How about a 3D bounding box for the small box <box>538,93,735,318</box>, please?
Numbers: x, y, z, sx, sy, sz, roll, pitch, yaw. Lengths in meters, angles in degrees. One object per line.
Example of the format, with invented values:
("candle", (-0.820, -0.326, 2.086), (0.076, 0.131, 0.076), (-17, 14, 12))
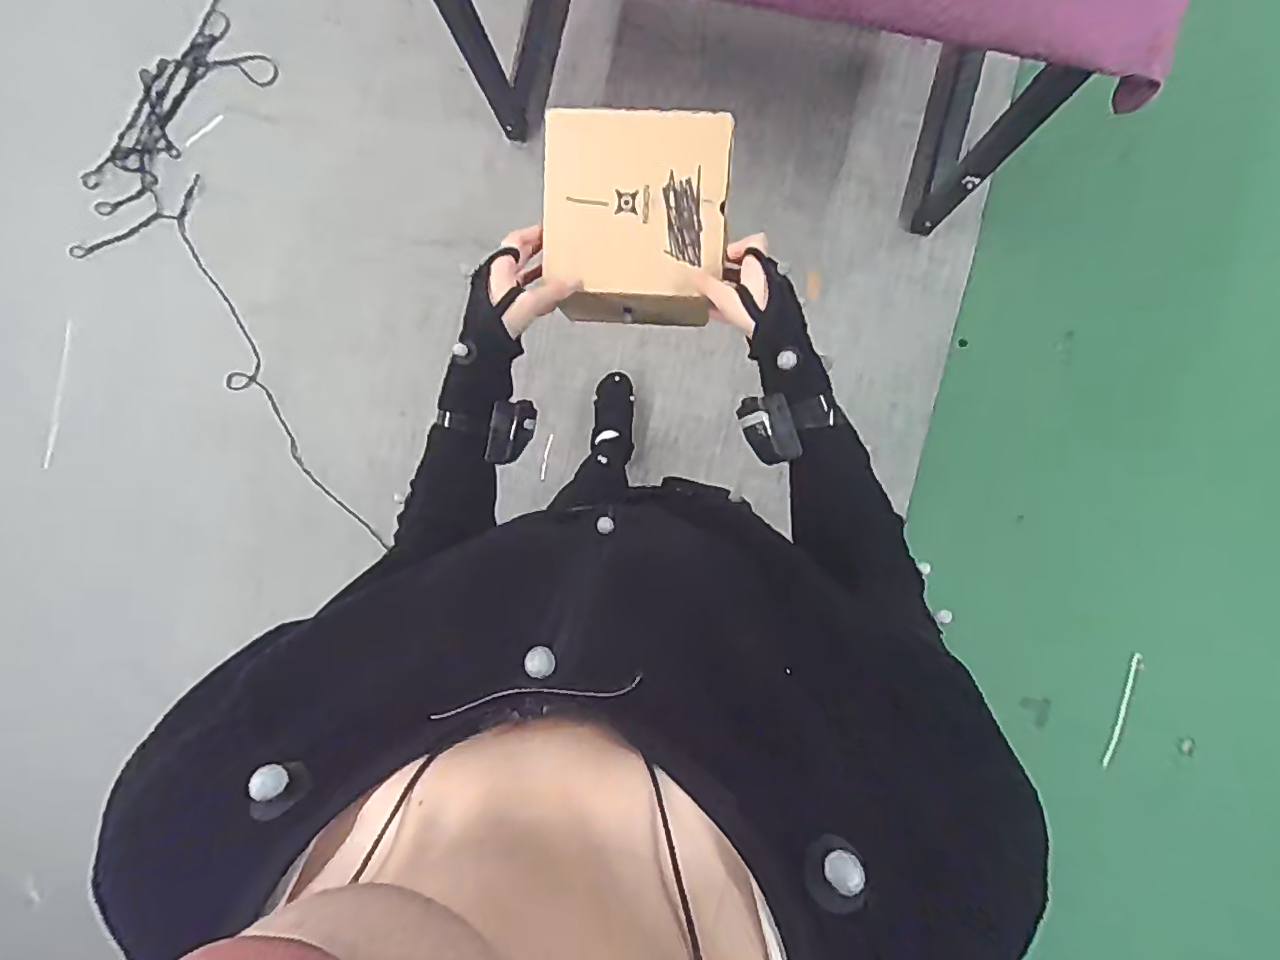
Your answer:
("small box", (-0.003, -0.275, 0.579), (0.179, 0.176, 0.168), (4, 96, 2))
